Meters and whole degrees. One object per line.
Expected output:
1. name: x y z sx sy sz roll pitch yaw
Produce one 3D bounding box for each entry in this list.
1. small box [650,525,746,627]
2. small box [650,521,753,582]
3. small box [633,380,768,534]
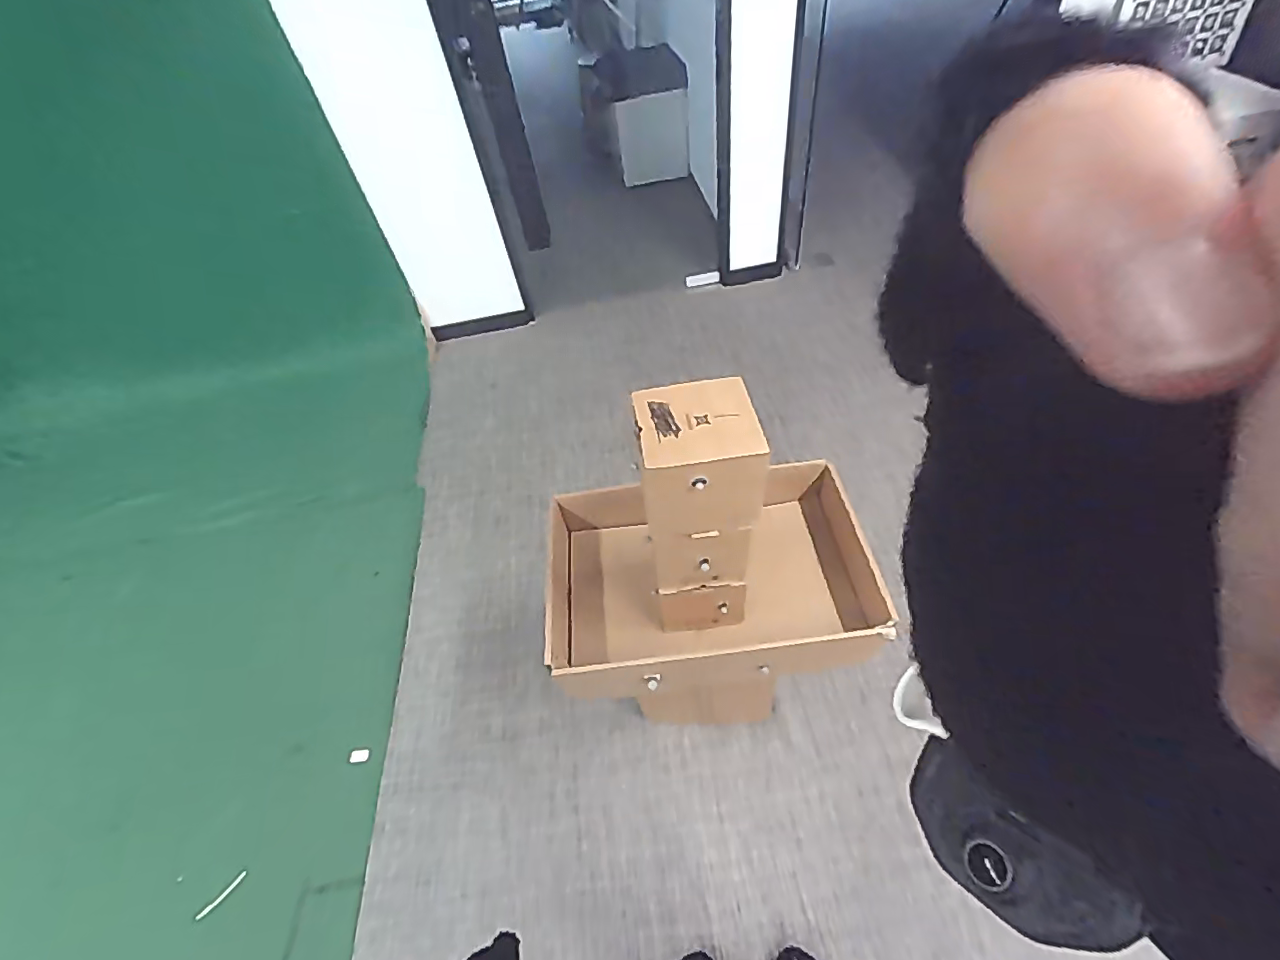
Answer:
1. small box: 0.114 0.184 1.095 0.168 0.176 0.179 -7 48 0
2. small box: 0.101 0.072 0.976 0.168 0.176 0.179 -7 51 0
3. small box: 0.089 -0.032 0.848 0.179 0.176 0.168 -8 50 -2
